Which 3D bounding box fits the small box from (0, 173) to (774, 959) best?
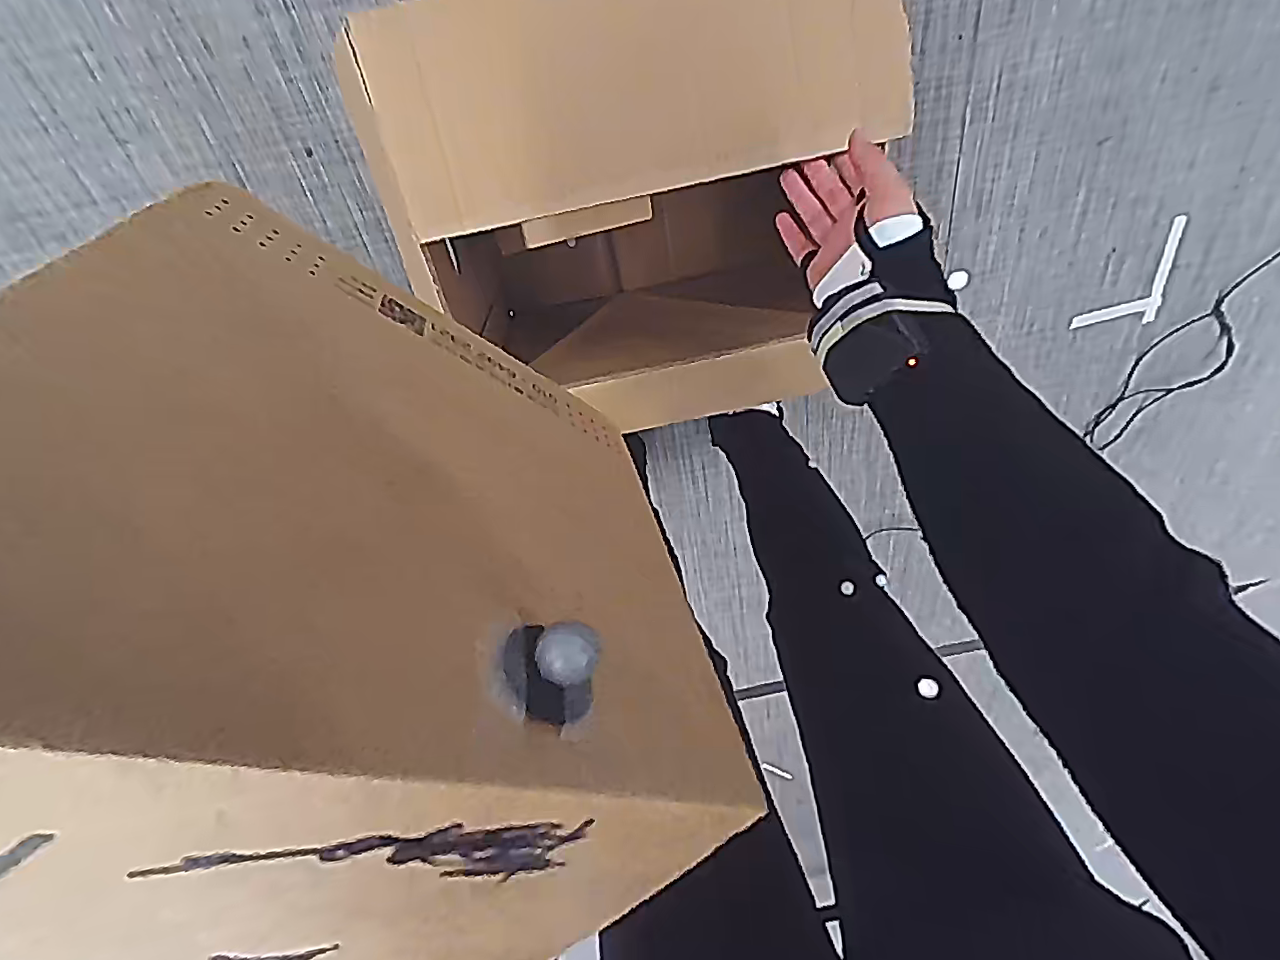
[{"bbox_3d":[-0.099,0.049,0.166,0.168,0.176,0.179,29,116,-35],"label":"small box"}]
